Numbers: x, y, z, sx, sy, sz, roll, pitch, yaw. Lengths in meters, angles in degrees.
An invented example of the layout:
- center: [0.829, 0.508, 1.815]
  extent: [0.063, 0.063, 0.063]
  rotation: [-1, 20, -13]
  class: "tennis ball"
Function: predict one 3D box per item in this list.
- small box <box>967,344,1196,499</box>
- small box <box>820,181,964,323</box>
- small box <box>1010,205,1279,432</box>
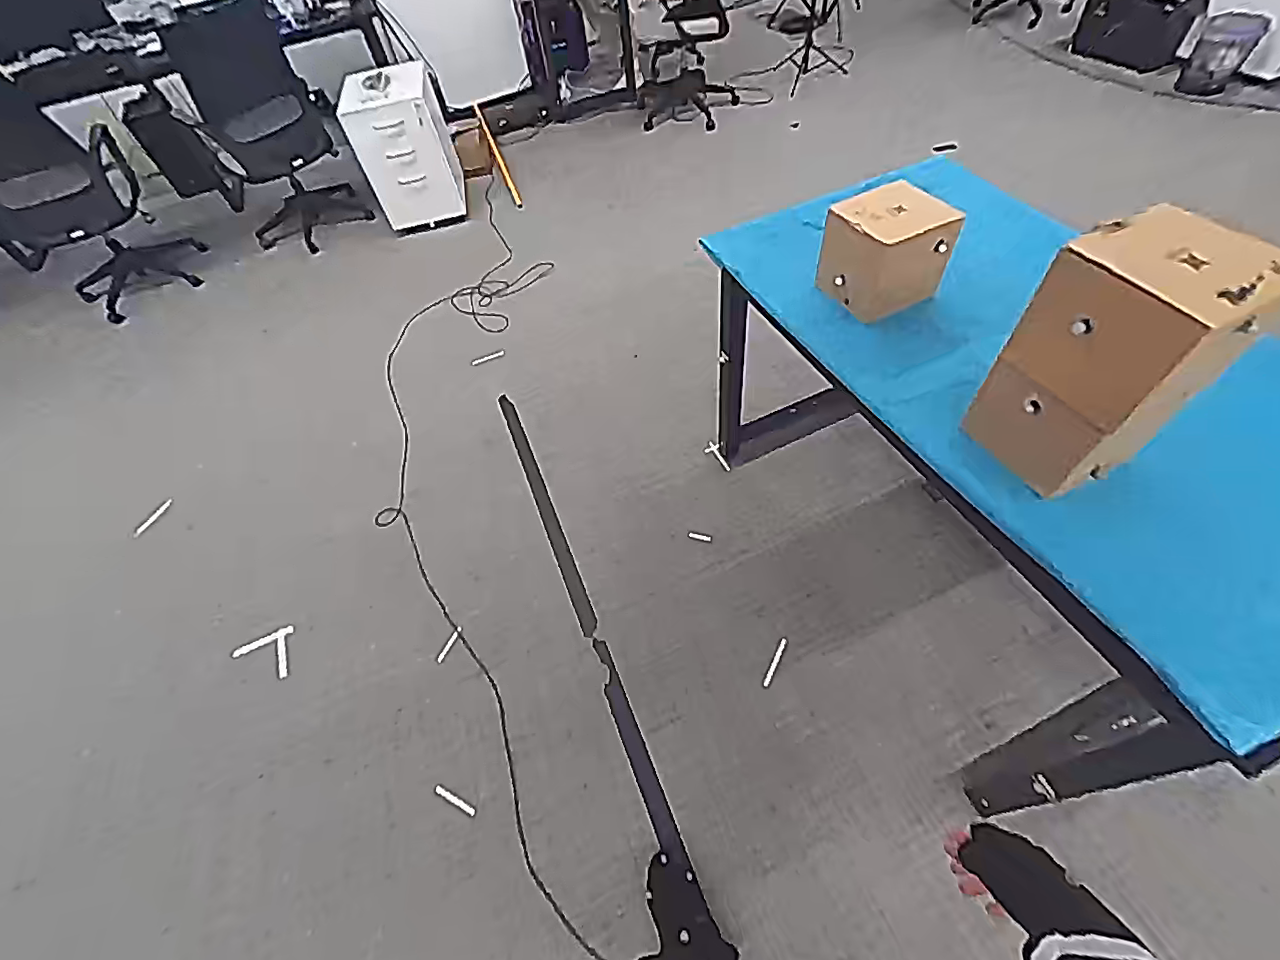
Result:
- center: [0.623, -0.105, 0.785]
  extent: [0.168, 0.176, 0.179]
  rotation: [-24, 54, -9]
  class: "small box"
- center: [0.473, -0.438, 1.048]
  extent: [0.179, 0.176, 0.168]
  rotation: [-23, 53, -6]
  class: "small box"
- center: [0.601, -0.191, 0.649]
  extent: [0.168, 0.176, 0.179]
  rotation: [-27, 56, -11]
  class: "small box"
